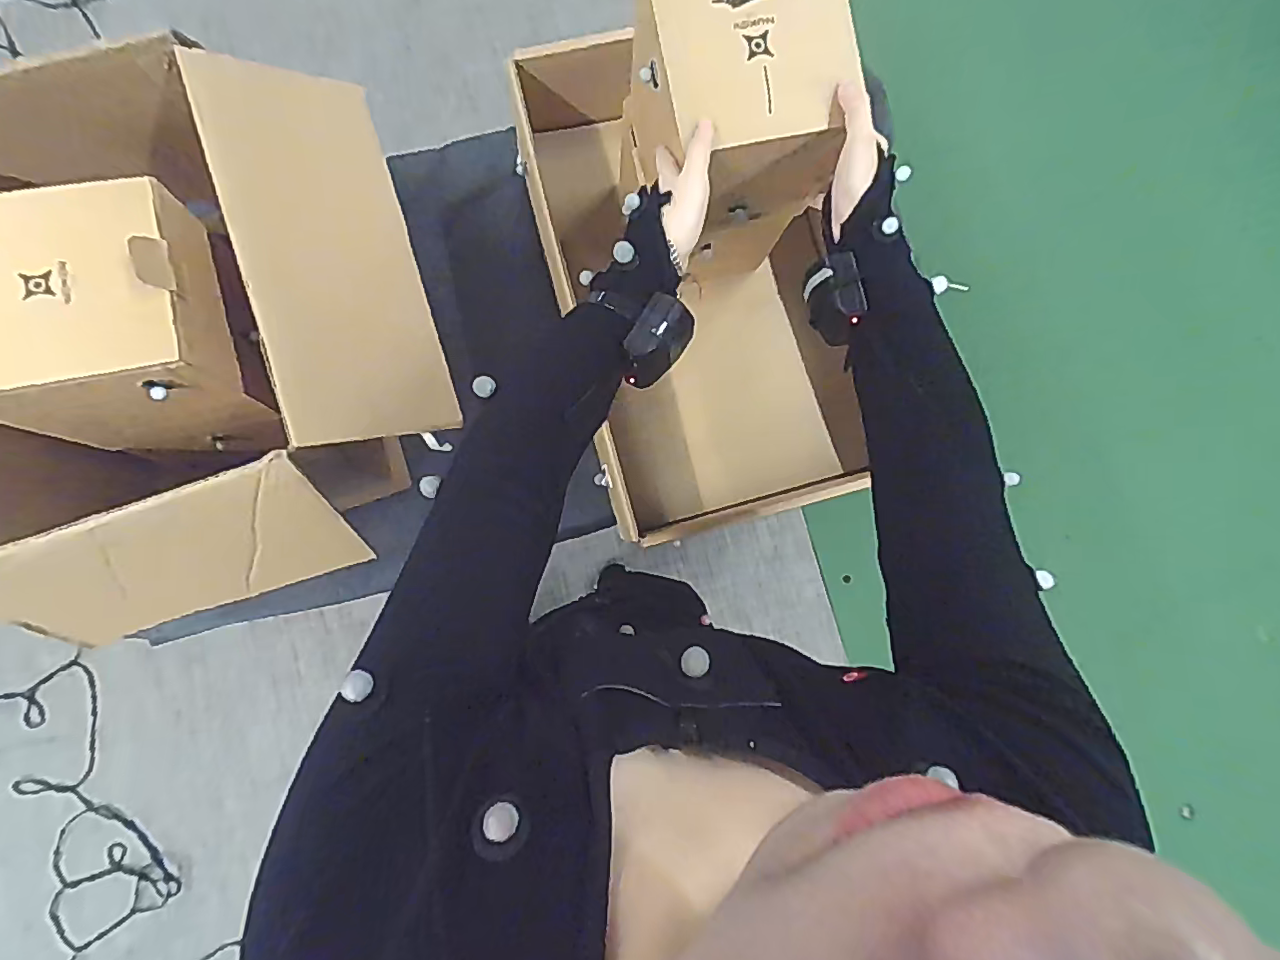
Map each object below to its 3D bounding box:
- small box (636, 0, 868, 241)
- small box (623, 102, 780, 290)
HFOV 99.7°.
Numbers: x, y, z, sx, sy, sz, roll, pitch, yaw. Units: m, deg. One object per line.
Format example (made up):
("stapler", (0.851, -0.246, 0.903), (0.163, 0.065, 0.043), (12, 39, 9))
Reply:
("small box", (0.094, -0.366, 0.531), (0.168, 0.176, 0.179), (-11, 92, -3))
("small box", (0.080, -0.368, 0.704), (0.179, 0.176, 0.168), (-13, 88, -4))
